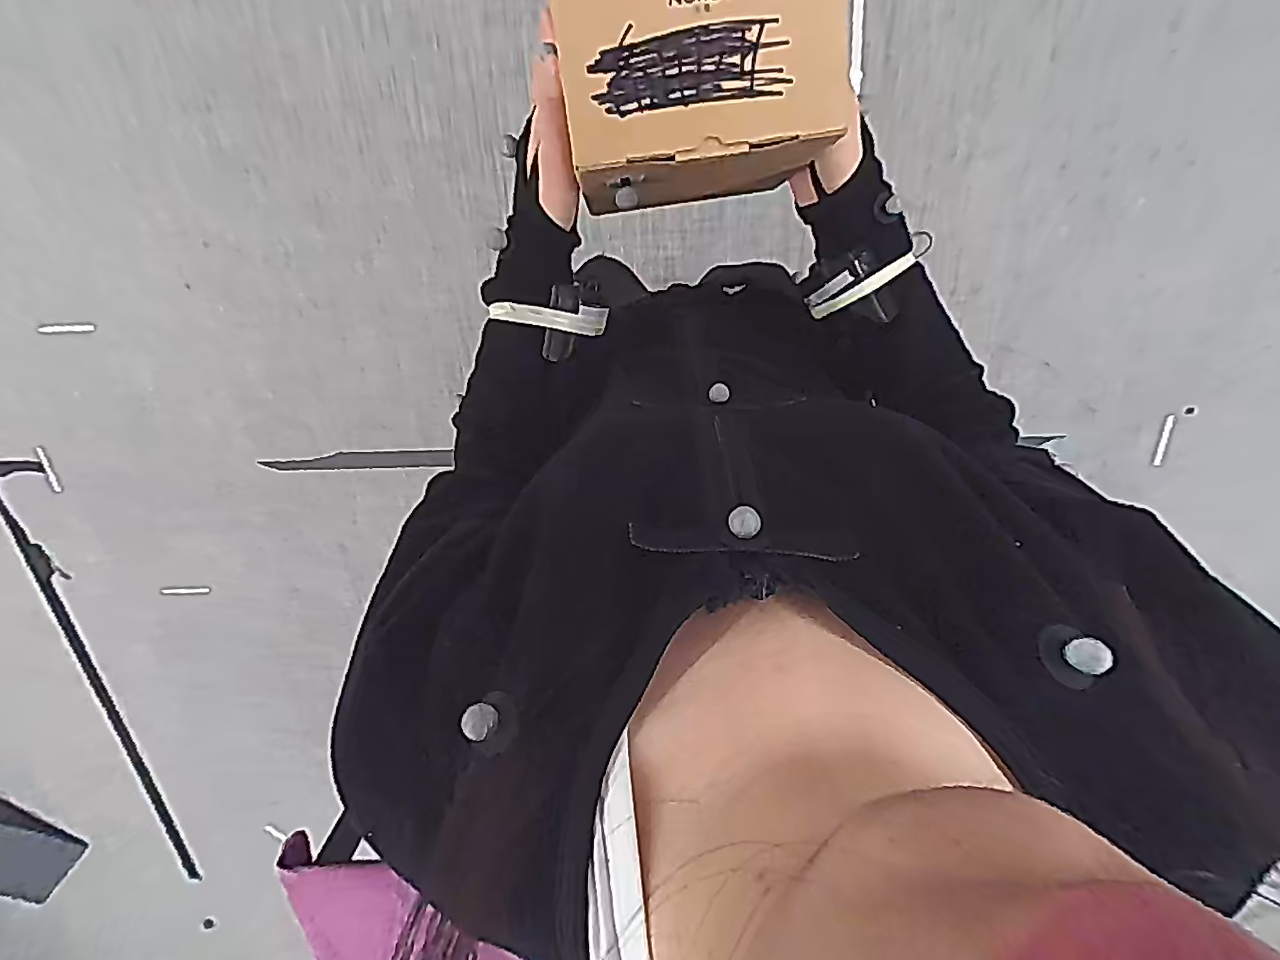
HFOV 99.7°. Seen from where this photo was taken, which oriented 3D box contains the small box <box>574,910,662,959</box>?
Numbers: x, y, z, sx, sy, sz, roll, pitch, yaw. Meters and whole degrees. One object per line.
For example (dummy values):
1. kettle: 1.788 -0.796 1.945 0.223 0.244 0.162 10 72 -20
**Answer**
1. small box: -0.042 0.966 1.029 0.168 0.176 0.179 0 111 1
